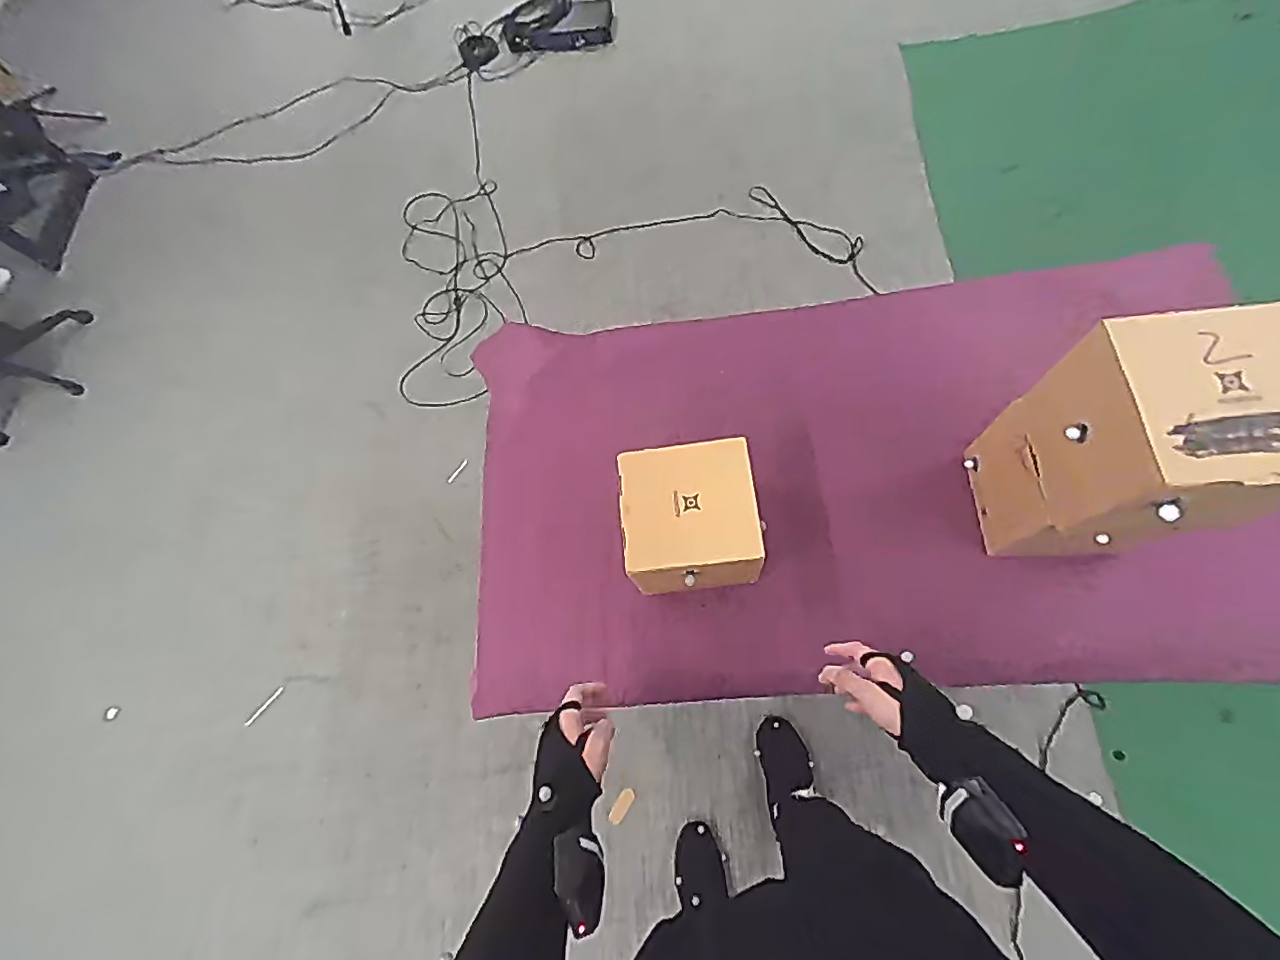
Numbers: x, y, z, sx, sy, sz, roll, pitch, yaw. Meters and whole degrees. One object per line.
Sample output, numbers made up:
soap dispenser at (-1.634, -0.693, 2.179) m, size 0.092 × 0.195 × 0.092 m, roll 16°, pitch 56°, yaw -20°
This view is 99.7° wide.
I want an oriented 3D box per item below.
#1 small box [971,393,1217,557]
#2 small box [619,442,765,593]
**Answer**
small box at (0.565, 0.004, 0.711) m, size 0.179 × 0.176 × 0.168 m, roll -3°, pitch 69°, yaw 8°
small box at (0.074, 0.061, 0.770) m, size 0.179 × 0.176 × 0.168 m, roll -8°, pitch 69°, yaw 7°
